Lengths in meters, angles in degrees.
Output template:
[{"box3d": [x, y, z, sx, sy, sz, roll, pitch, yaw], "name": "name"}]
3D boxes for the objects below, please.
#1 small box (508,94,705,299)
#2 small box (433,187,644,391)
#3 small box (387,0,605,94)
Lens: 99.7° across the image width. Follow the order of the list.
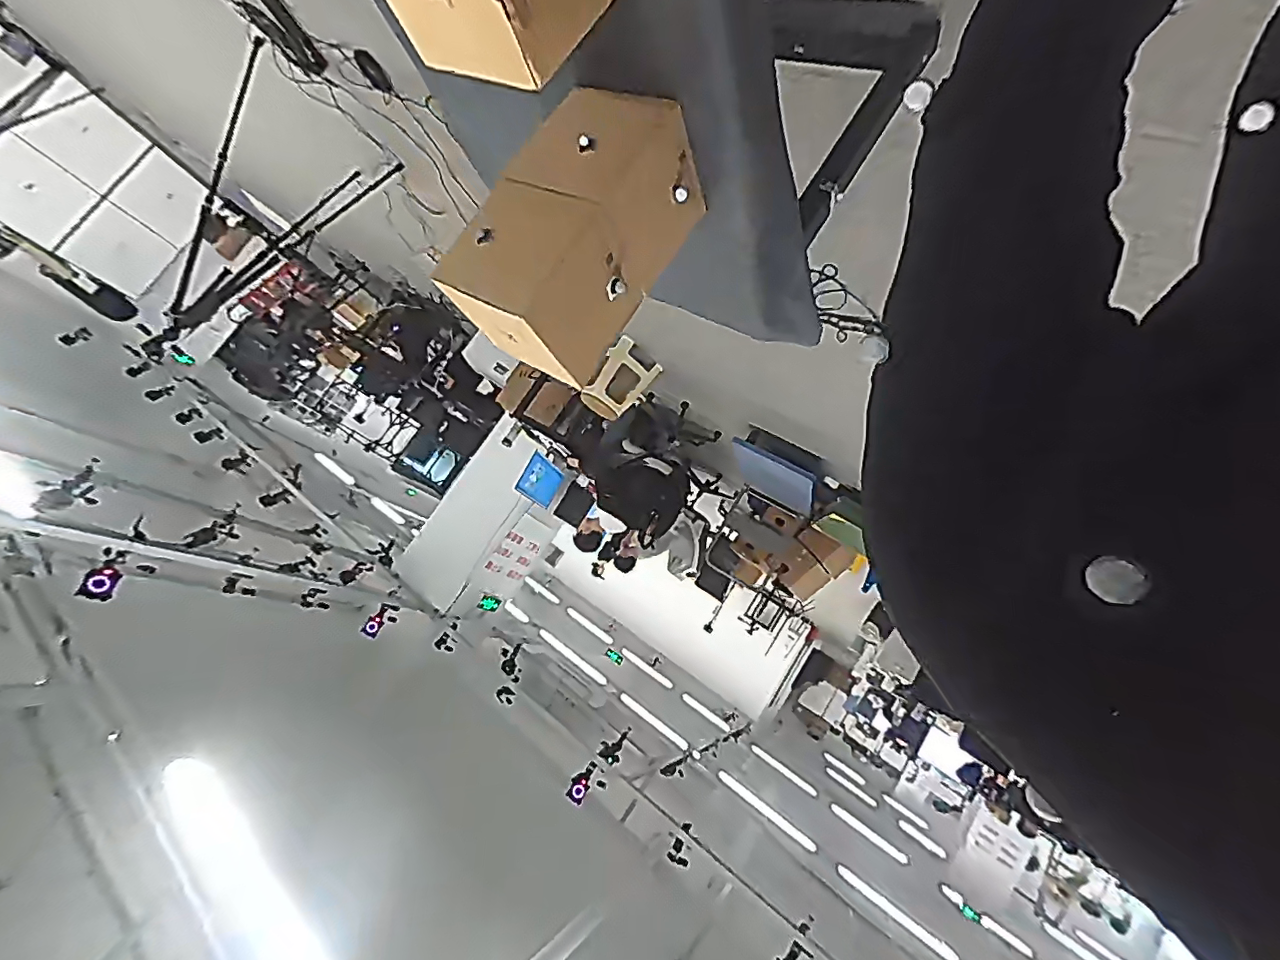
[{"box3d": [-0.038, -0.388, 0.741, 0.179, 0.176, 0.168, 28, 170, 27], "name": "small box"}, {"box3d": [-0.125, -0.253, 0.717, 0.179, 0.176, 0.168, 28, 171, 27], "name": "small box"}, {"box3d": [-0.138, -0.501, 0.489, 0.179, 0.176, 0.168, 29, 170, 24], "name": "small box"}]
